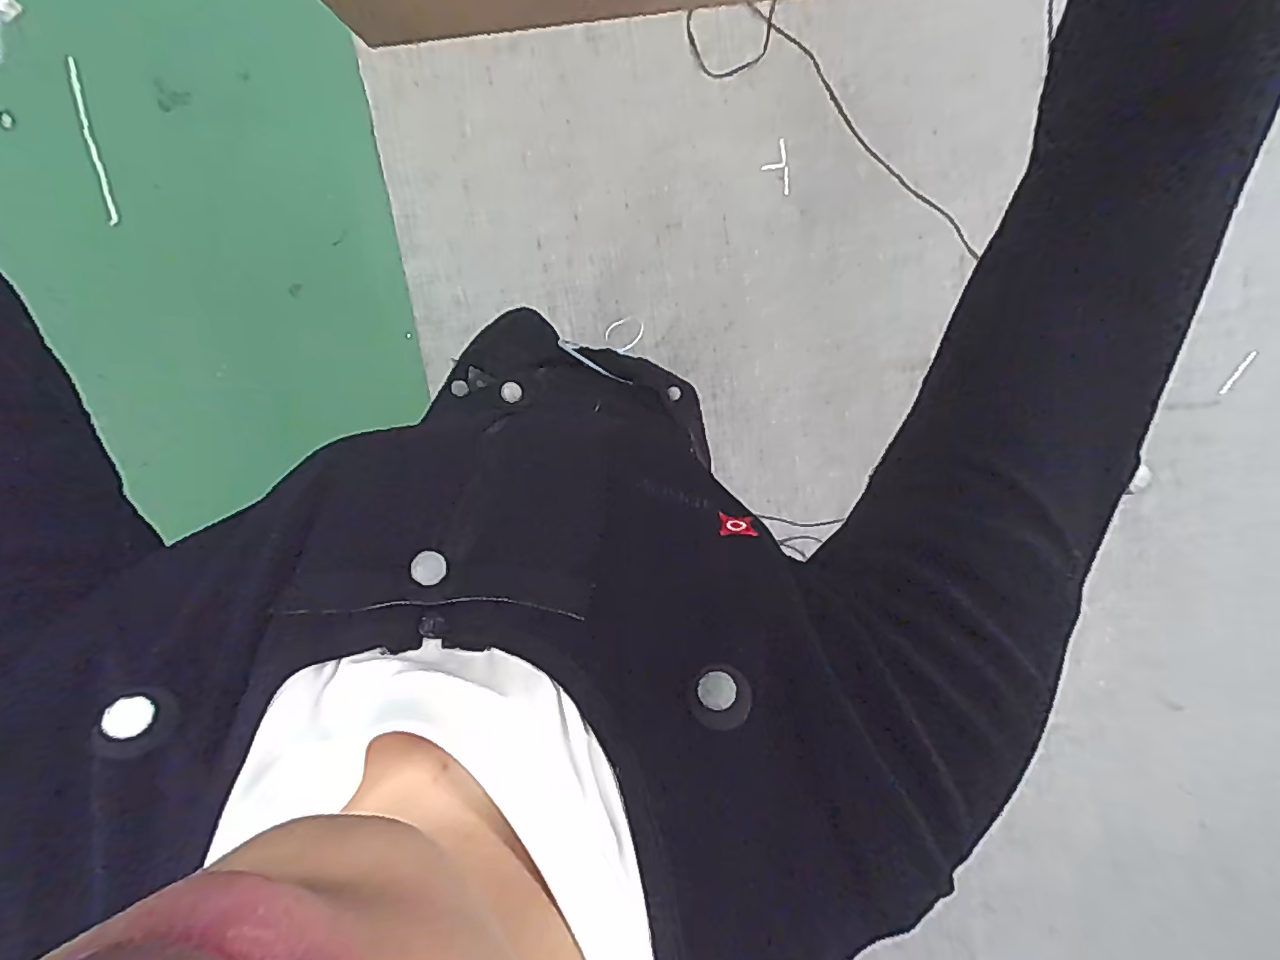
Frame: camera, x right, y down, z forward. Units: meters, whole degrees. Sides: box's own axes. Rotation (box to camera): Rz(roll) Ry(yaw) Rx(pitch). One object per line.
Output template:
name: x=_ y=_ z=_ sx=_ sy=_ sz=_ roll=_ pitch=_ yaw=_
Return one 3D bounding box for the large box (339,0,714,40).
large box: x=-0.047 y=-0.494 z=0.271 sx=0.408 sy=0.320 sz=0.320 roll=-5 pitch=107 yaw=1
